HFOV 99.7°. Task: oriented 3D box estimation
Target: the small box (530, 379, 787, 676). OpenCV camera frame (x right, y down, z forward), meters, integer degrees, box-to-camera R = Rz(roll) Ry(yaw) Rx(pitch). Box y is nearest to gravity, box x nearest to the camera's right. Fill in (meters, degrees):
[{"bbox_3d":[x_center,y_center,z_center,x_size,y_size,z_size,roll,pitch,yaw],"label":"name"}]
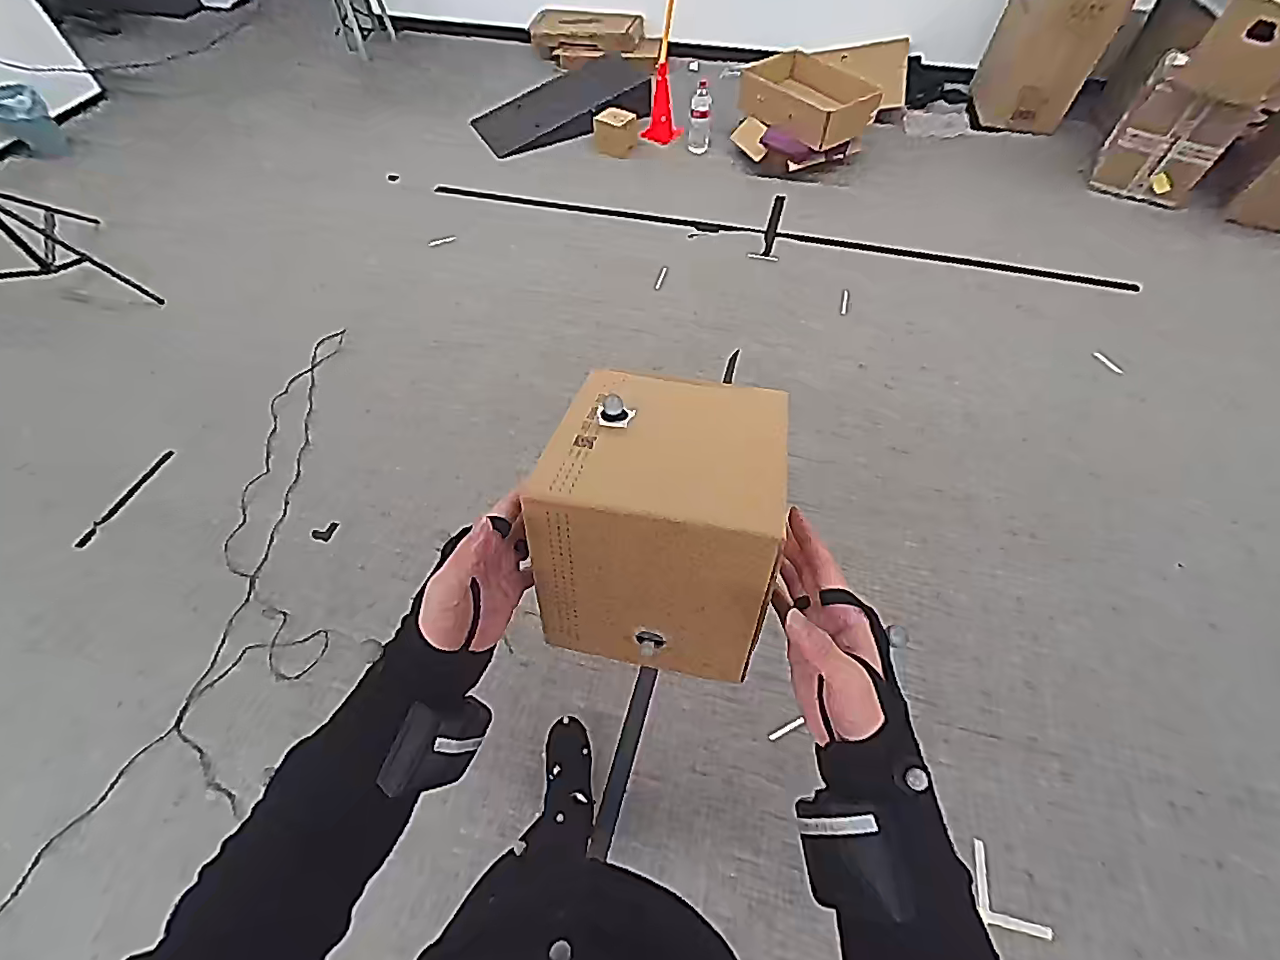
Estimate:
[{"bbox_3d":[0.021,0.035,0.454,0.176,0.179,0.168,8,44,8],"label":"small box"}]
